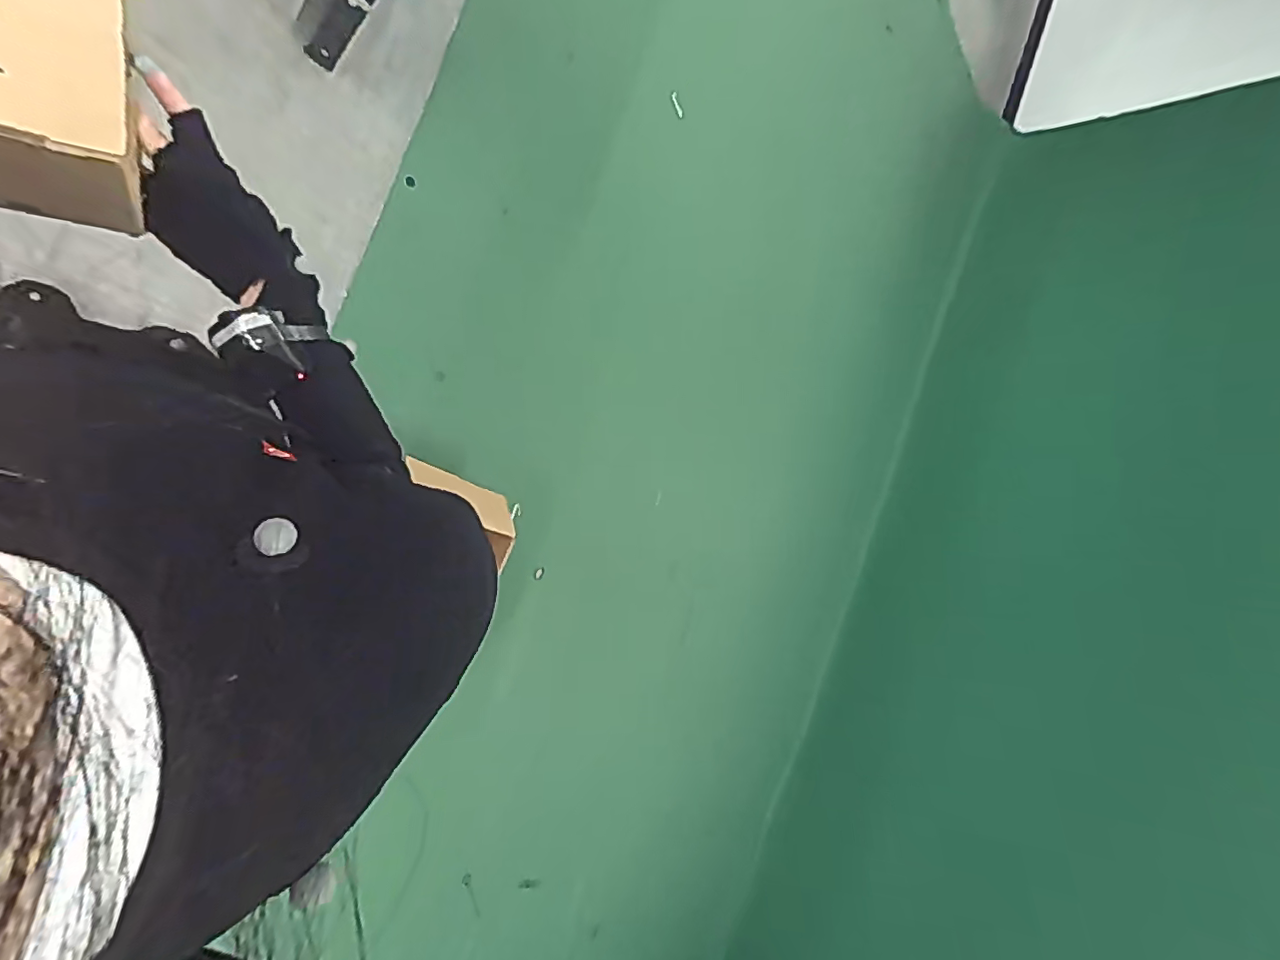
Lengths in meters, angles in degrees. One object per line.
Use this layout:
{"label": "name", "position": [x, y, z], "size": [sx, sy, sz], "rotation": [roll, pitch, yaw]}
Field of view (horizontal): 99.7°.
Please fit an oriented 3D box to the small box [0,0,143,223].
{"label": "small box", "position": [-0.397, -0.269, 0.304], "size": [0.168, 0.176, 0.179], "rotation": [-2, 97, -41]}
